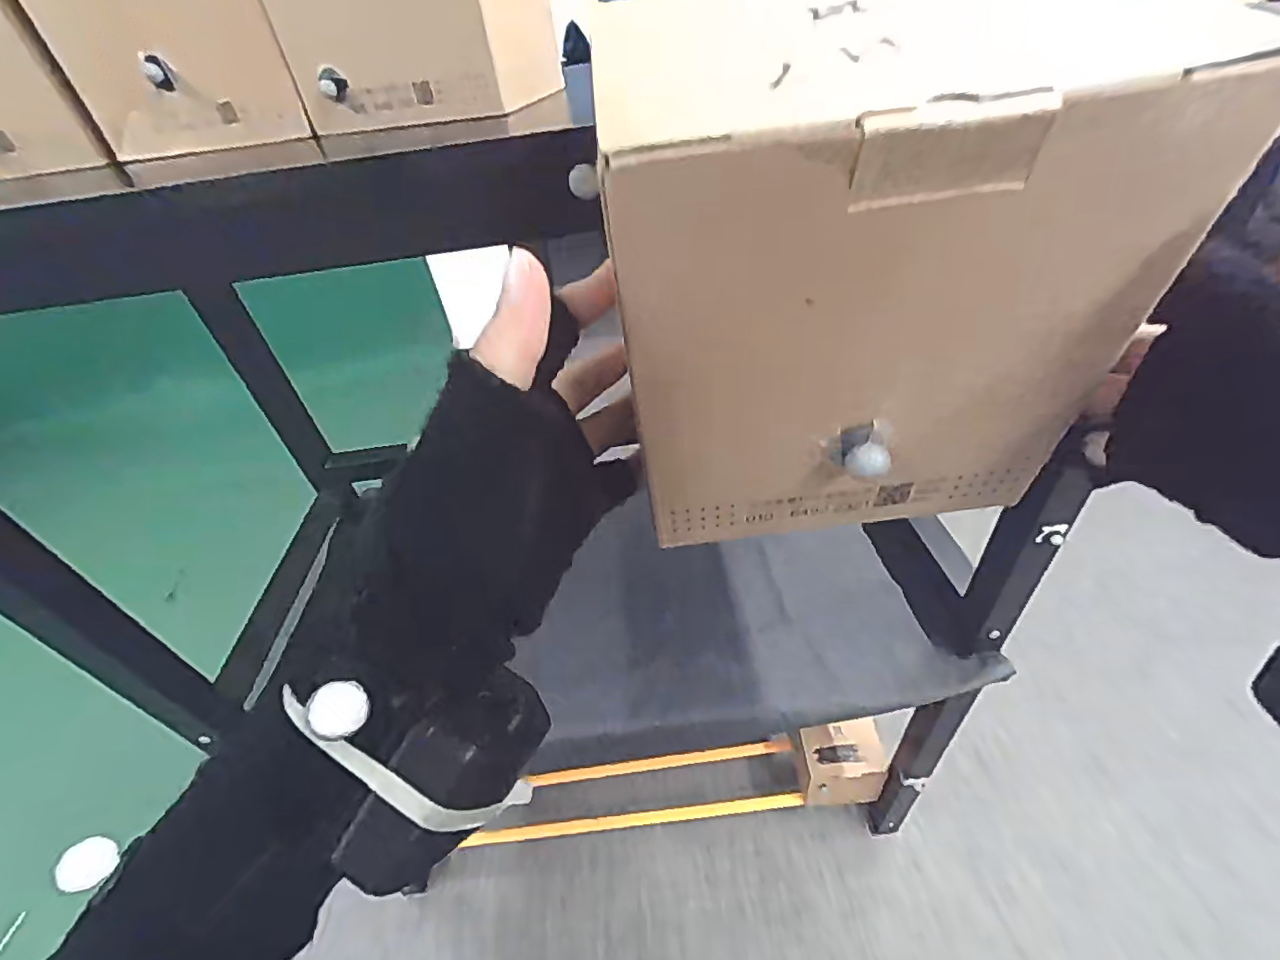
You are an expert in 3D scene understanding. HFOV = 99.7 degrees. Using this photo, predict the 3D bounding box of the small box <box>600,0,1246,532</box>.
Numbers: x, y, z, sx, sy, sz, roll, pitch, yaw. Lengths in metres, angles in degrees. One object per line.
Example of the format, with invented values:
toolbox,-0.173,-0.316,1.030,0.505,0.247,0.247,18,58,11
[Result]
small box,0.074,-0.099,0.252,0.168,0.176,0.179,-7,50,2
